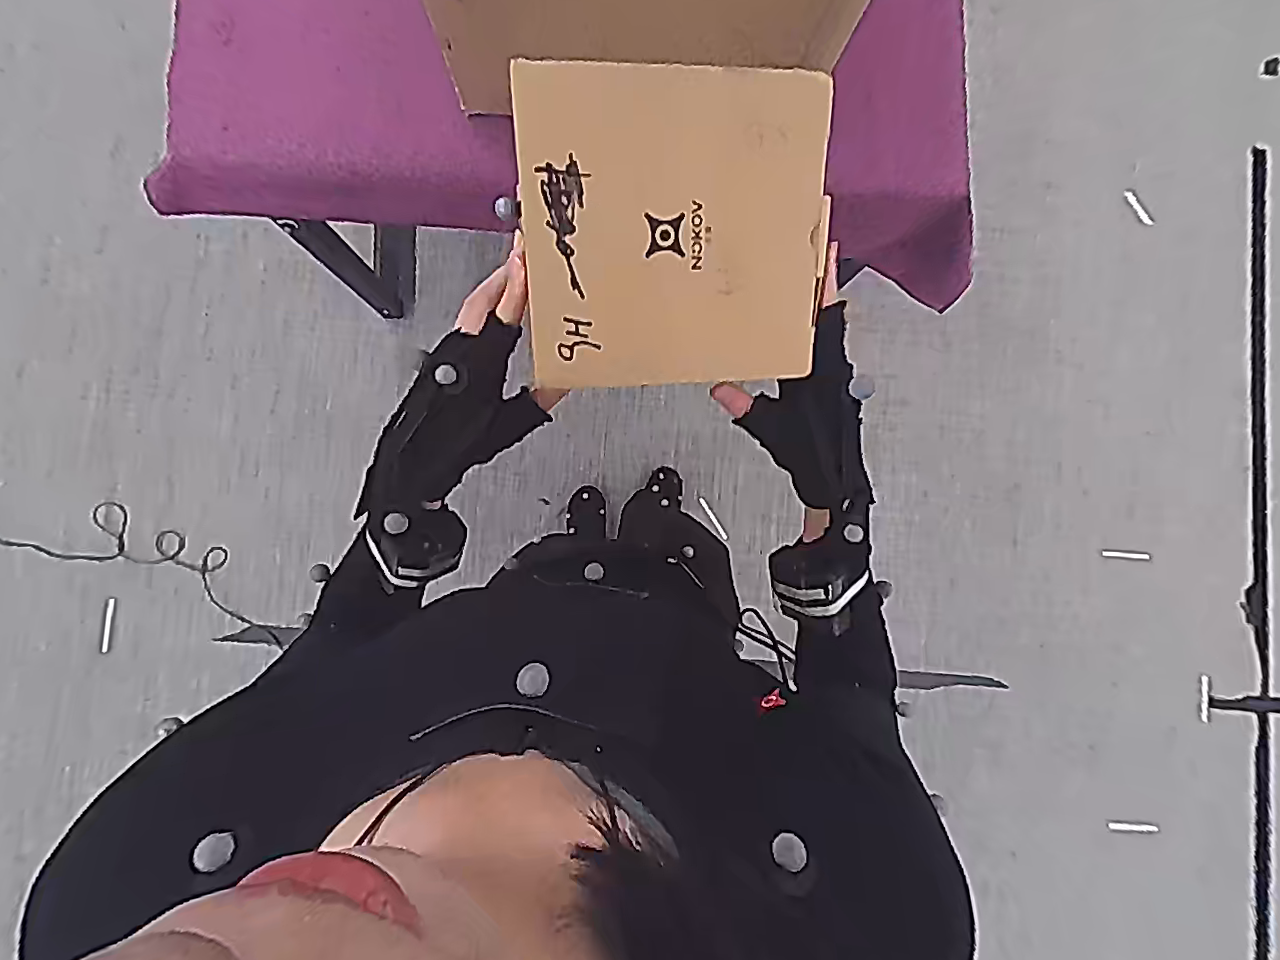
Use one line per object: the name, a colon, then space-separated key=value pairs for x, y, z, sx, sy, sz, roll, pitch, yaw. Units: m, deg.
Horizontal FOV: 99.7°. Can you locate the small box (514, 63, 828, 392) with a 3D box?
small box: x=0.004 y=-0.157 z=0.383 sx=0.179 sy=0.176 sz=0.168 roll=-4 pitch=107 yaw=-11
